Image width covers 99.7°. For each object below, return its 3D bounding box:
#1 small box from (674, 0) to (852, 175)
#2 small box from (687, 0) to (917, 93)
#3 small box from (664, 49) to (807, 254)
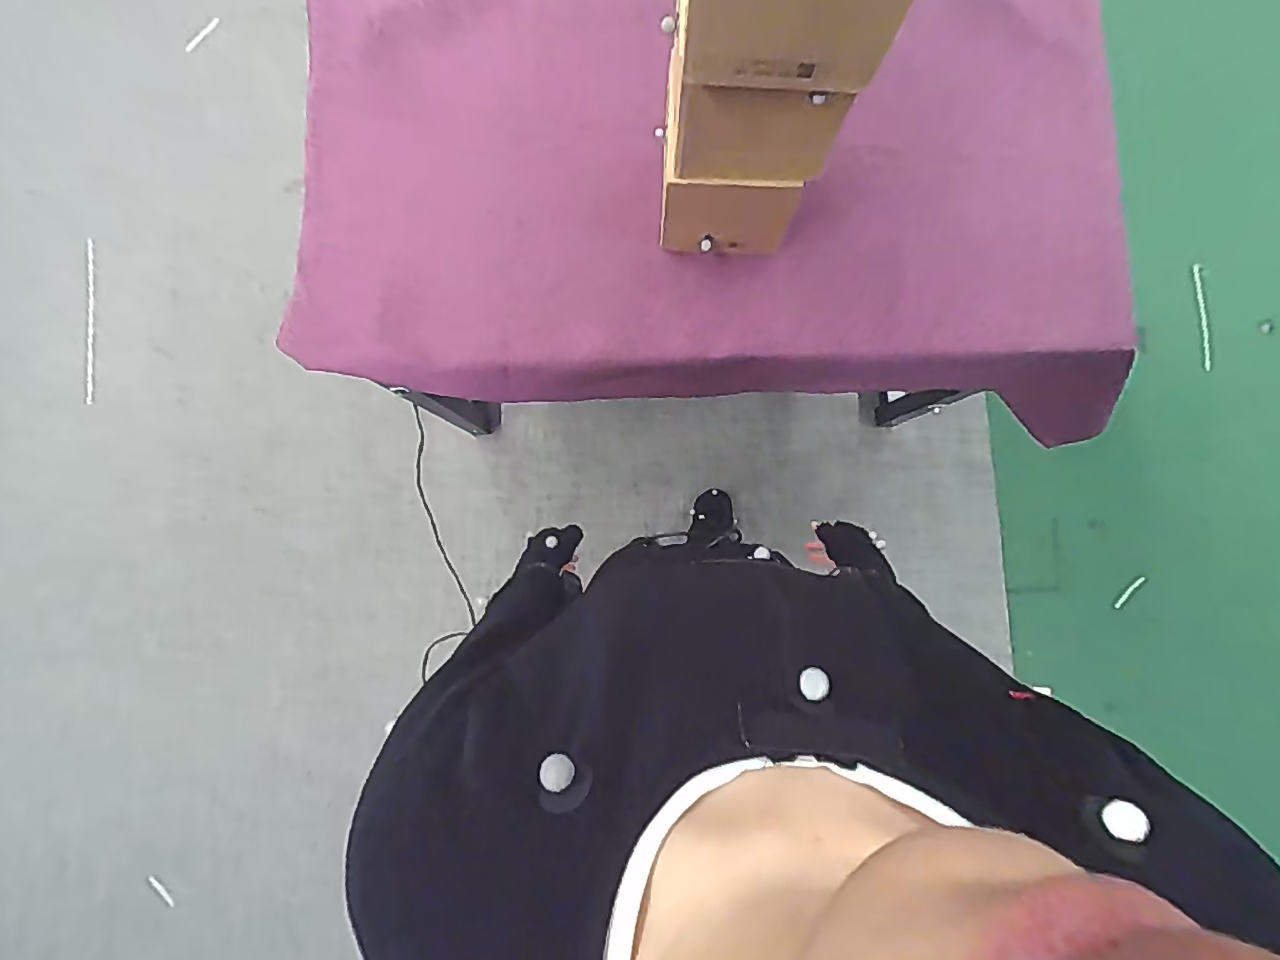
[{"bbox_3d":[0.126,-0.444,0.561,0.179,0.176,0.168,1,86,0],"label":"small box"},{"bbox_3d":[0.126,-0.434,0.396,0.168,0.176,0.179,4,85,1],"label":"small box"},{"bbox_3d":[0.119,-0.430,0.722,0.168,0.176,0.179,3,86,1],"label":"small box"}]
